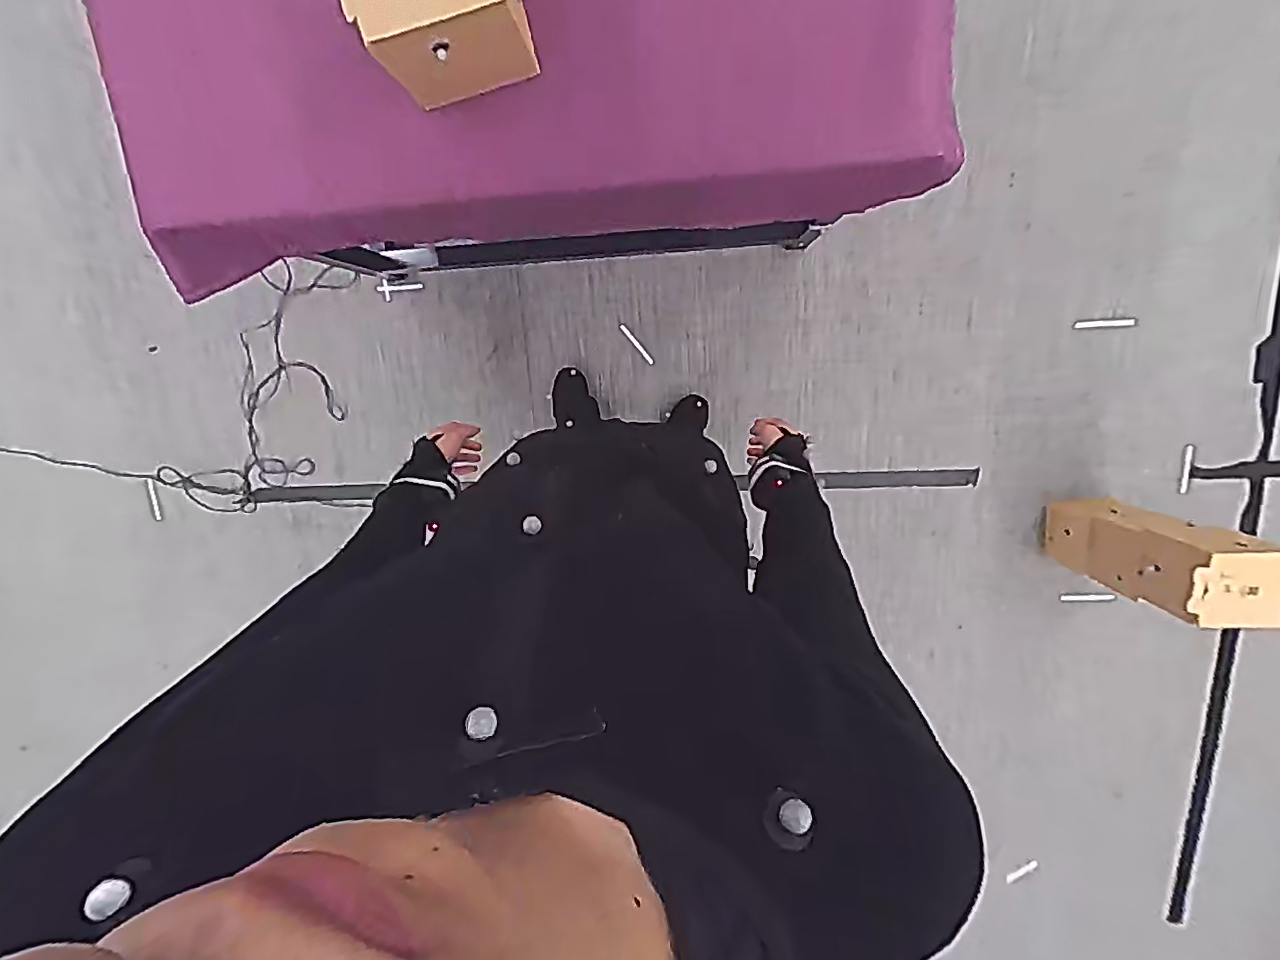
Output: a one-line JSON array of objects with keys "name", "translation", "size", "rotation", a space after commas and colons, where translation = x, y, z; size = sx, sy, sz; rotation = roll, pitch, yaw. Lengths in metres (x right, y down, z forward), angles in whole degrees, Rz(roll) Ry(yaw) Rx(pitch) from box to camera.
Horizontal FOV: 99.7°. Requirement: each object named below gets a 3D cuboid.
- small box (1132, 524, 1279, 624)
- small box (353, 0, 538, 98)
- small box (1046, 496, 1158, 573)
[{"name": "small box", "translation": [1.240, 0.197, 1.175], "size": [0.179, 0.176, 0.168], "rotation": [-1, 103, 4]}, {"name": "small box", "translation": [-0.246, -0.617, 0.671], "size": [0.179, 0.176, 0.168], "rotation": [-13, 102, 6]}, {"name": "small box", "translation": [1.270, 0.147, 1.501], "size": [0.179, 0.176, 0.168], "rotation": [-6, 102, 4]}]
